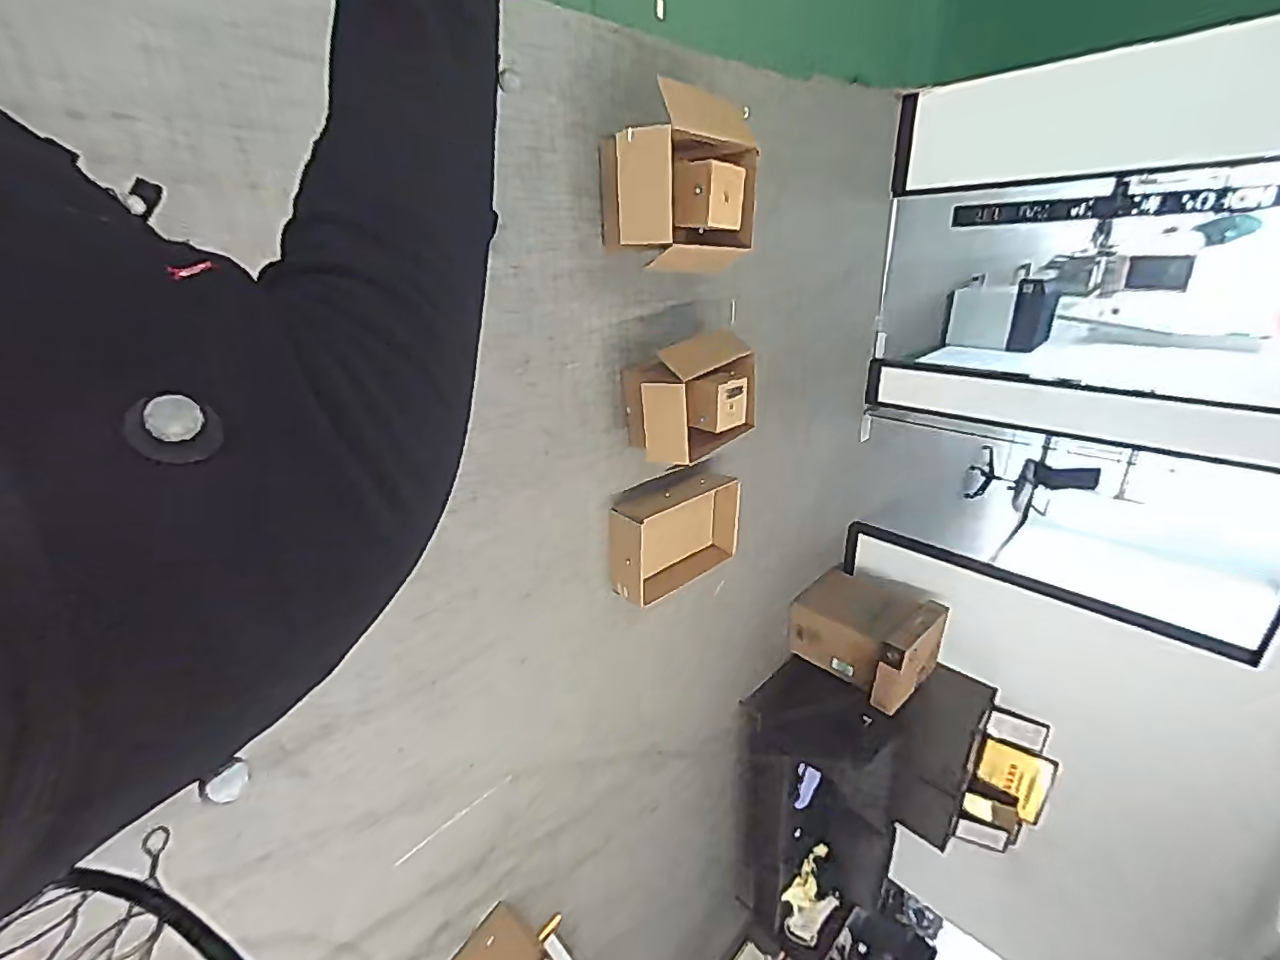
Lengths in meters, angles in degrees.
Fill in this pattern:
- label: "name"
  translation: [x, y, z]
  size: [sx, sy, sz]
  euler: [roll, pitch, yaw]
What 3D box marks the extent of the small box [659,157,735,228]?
- label: "small box"
  translation: [0.173, -0.889, 1.690]
  size: [0.168, 0.176, 0.179]
  euler: [-19, 119, -42]
